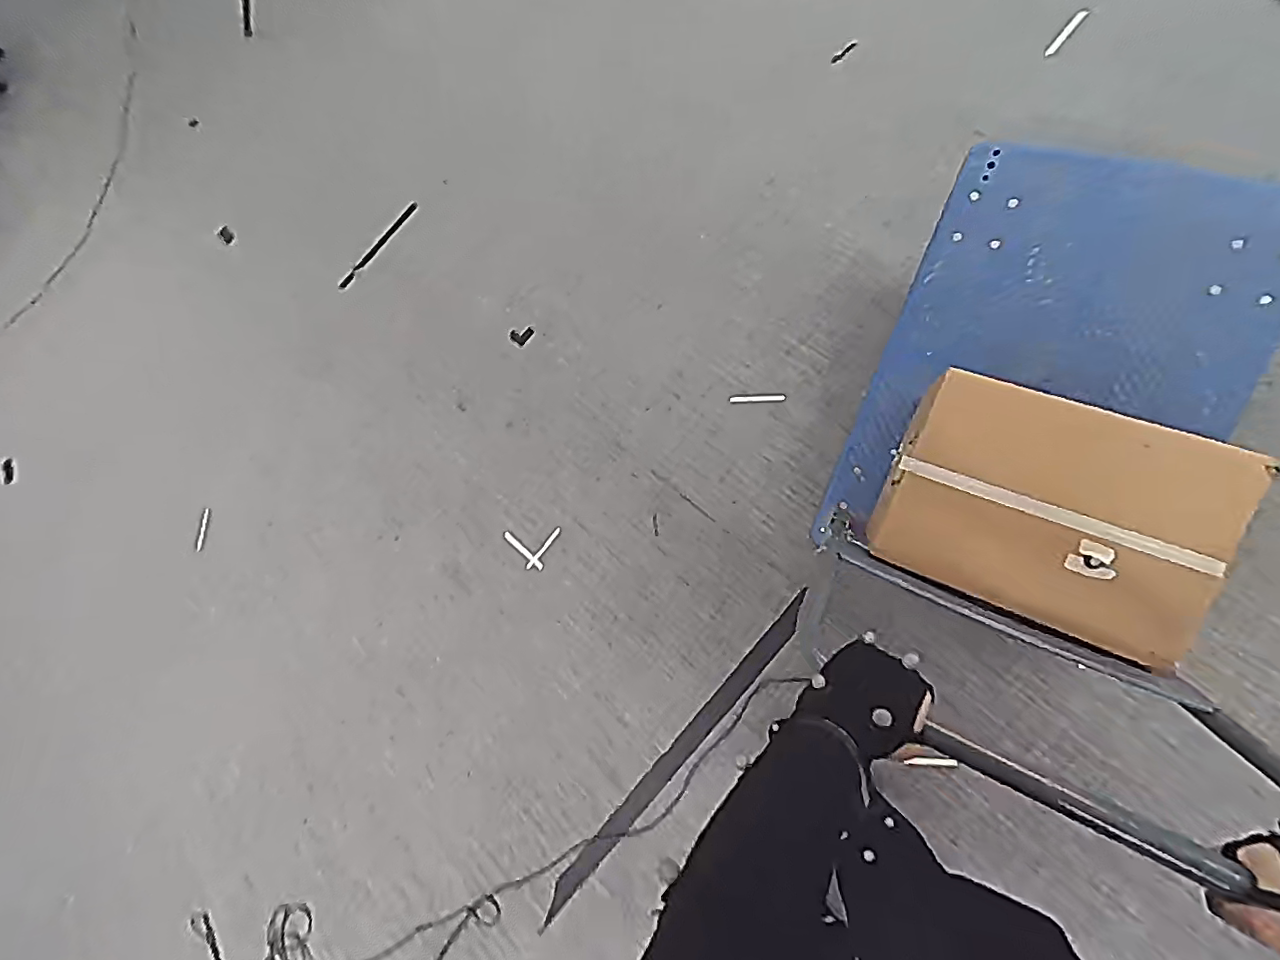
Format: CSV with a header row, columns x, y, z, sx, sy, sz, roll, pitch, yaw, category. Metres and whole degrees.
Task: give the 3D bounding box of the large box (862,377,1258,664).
x,y,z,sx,sy,sz,roll,pitch,yaw,category
0.642,0.048,0.932,0.408,0.320,0.320,22,99,19,large box
